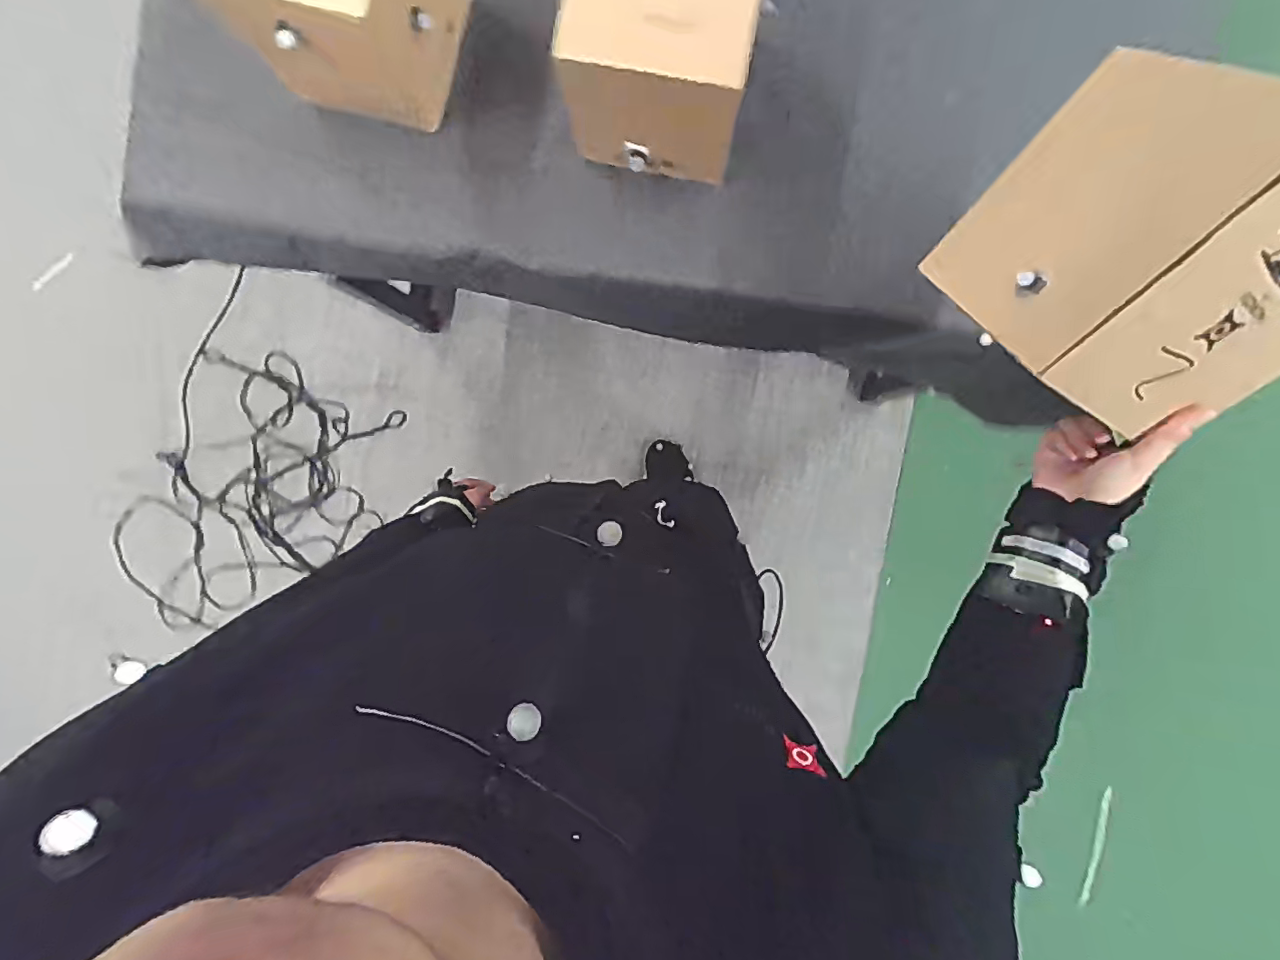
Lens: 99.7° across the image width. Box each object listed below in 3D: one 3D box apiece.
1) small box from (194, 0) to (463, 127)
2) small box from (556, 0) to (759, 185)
[{"bbox_3d":[-0.298,-0.492,0.538,0.179,0.176,0.168,14,92,1],"label":"small box"},{"bbox_3d":[0.023,-0.431,0.535,0.168,0.176,0.179,10,93,2],"label":"small box"}]
